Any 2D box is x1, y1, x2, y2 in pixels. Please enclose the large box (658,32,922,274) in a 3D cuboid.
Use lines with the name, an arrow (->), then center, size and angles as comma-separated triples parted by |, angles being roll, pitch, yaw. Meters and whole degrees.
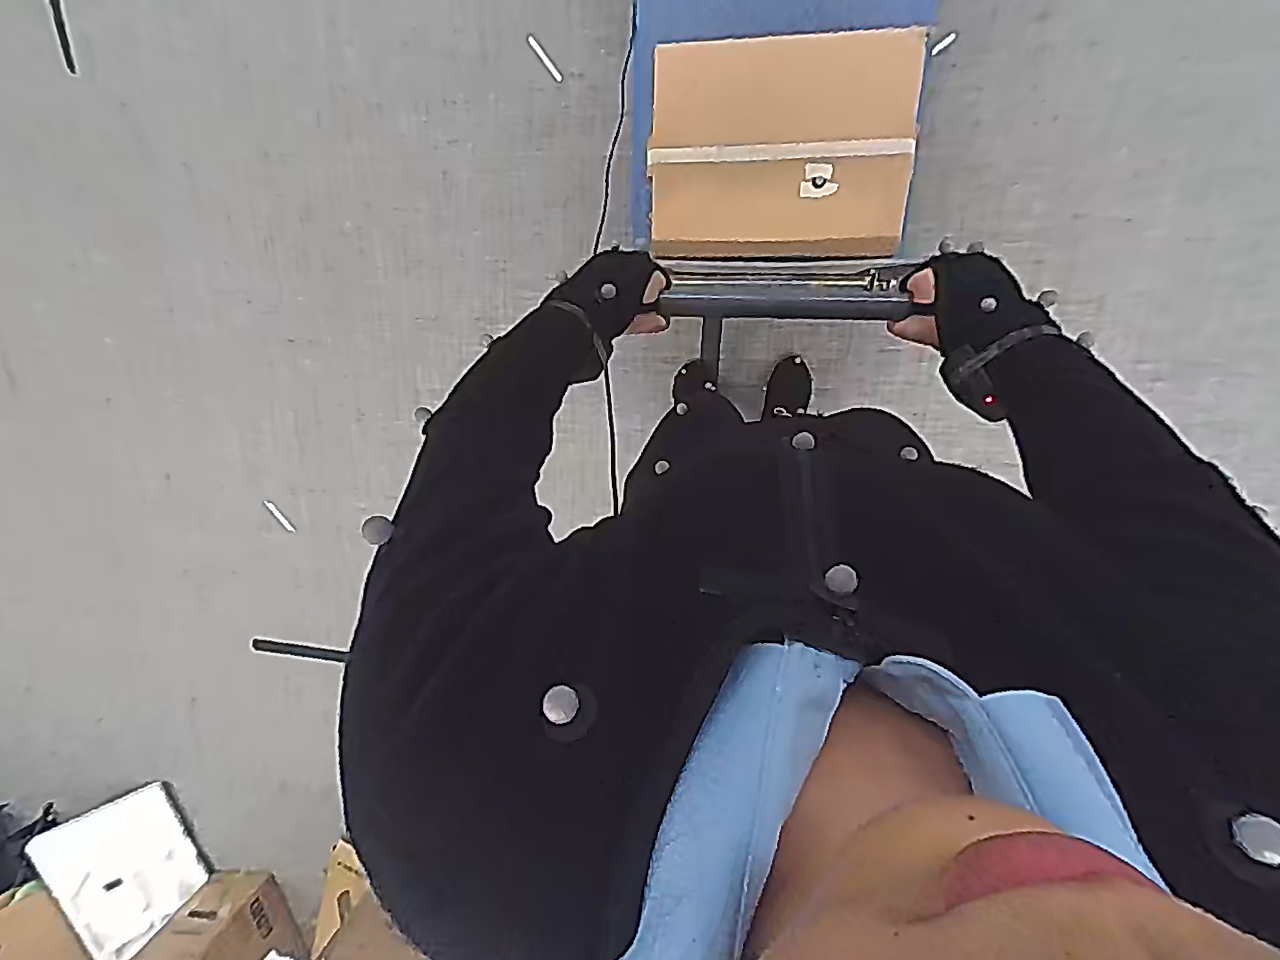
large box -> 0.248, -0.569, 1.017 | 0.408, 0.320, 0.320 | 3, 107, 9
